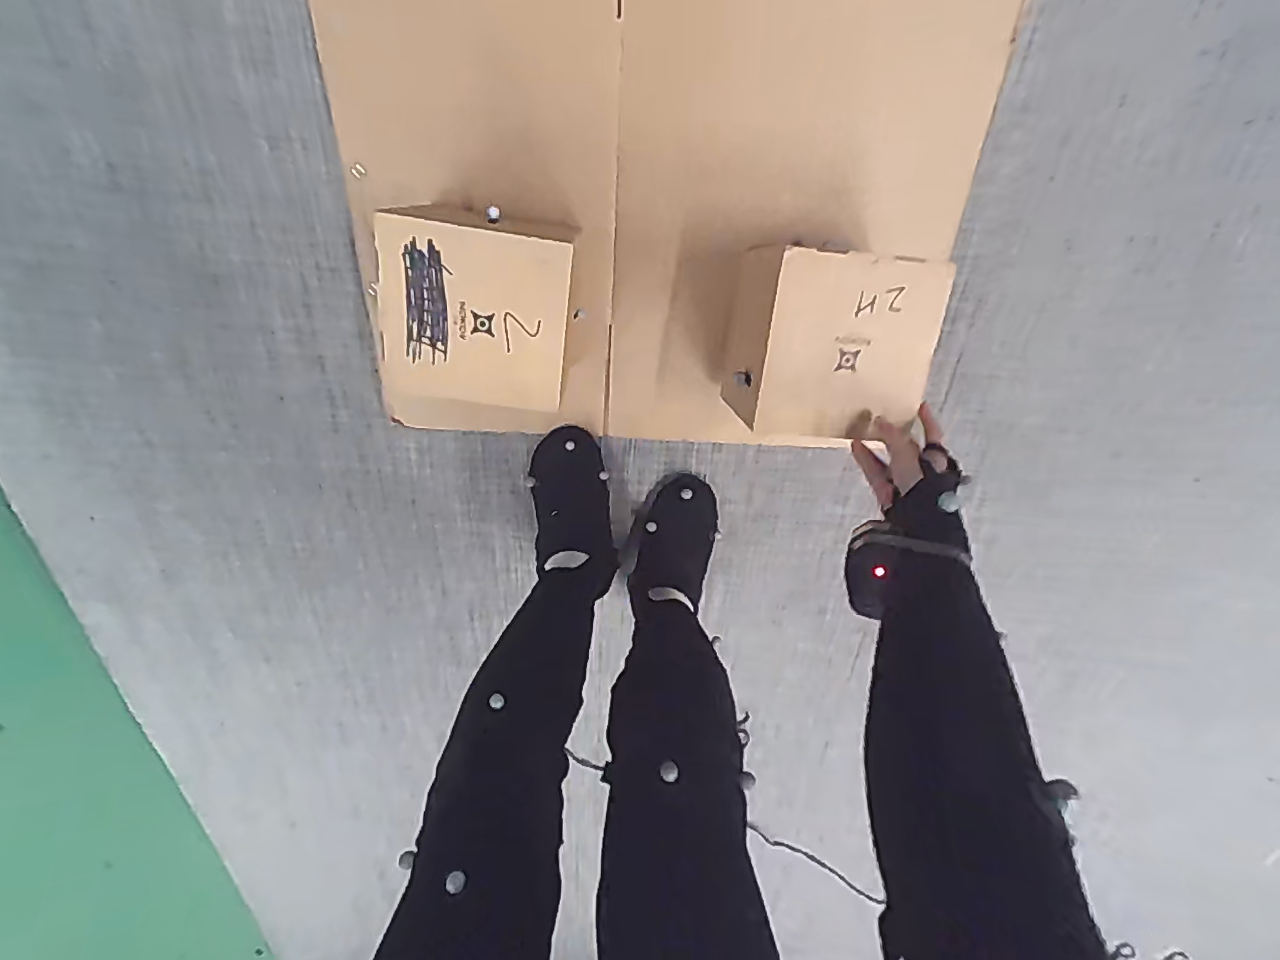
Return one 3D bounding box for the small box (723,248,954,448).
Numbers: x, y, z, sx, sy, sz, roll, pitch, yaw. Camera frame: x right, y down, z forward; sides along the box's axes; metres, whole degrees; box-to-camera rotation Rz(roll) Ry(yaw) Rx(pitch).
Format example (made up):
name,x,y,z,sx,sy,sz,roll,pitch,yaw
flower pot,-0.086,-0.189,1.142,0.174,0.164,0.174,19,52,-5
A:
name,x,y,z,sx,sy,sz,roll,pitch,yaw
small box,0.196,-0.151,0.597,0.168,0.176,0.179,5,111,-6
